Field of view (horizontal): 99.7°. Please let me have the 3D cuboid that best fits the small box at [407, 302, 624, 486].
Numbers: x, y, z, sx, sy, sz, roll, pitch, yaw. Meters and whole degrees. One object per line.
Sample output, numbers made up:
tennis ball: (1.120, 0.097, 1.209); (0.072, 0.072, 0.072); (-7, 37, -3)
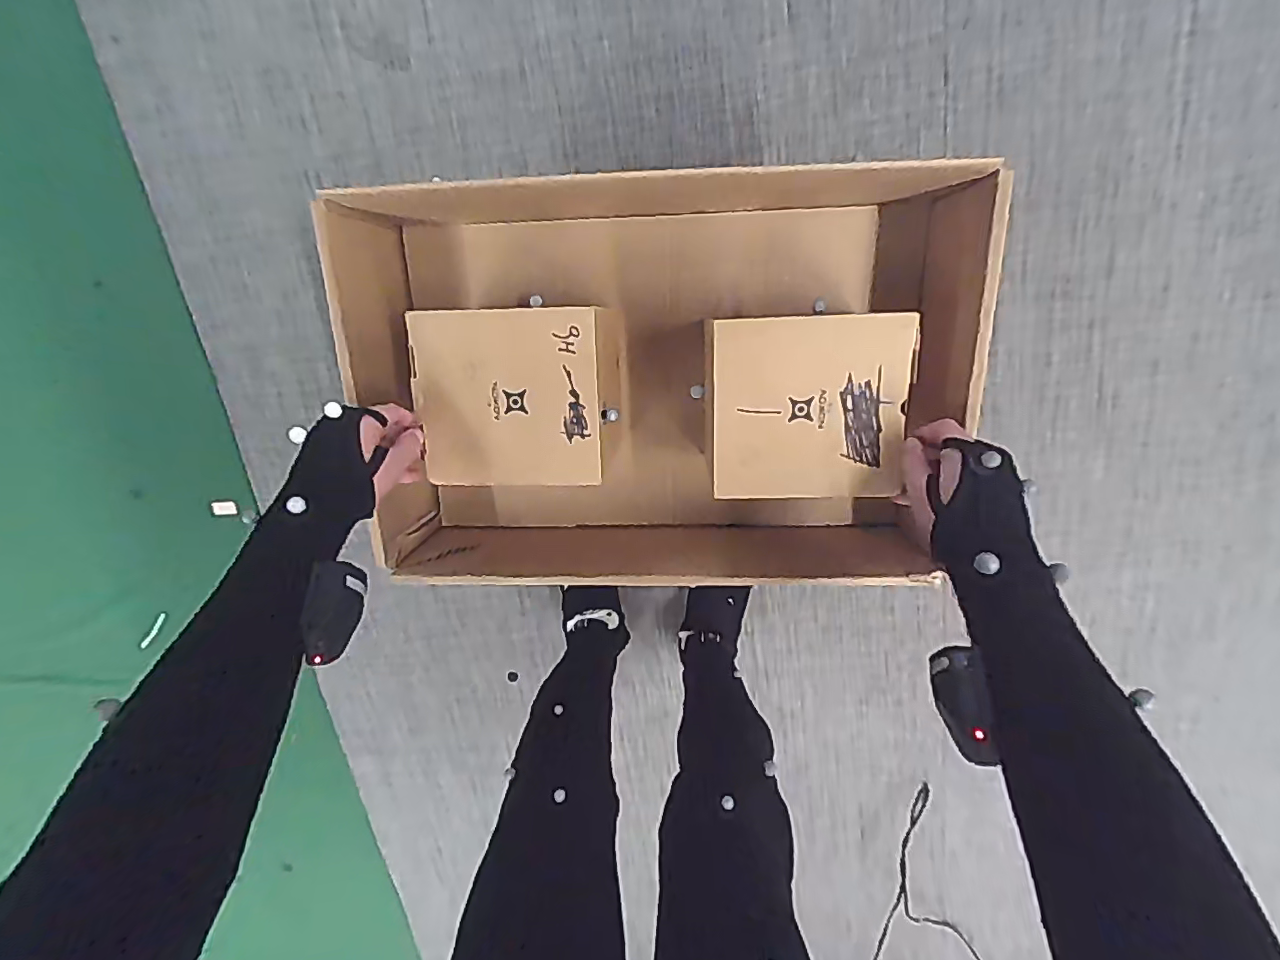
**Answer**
small box: (-0.115, -0.097, 0.570); (0.179, 0.176, 0.168); (1, 106, 5)
